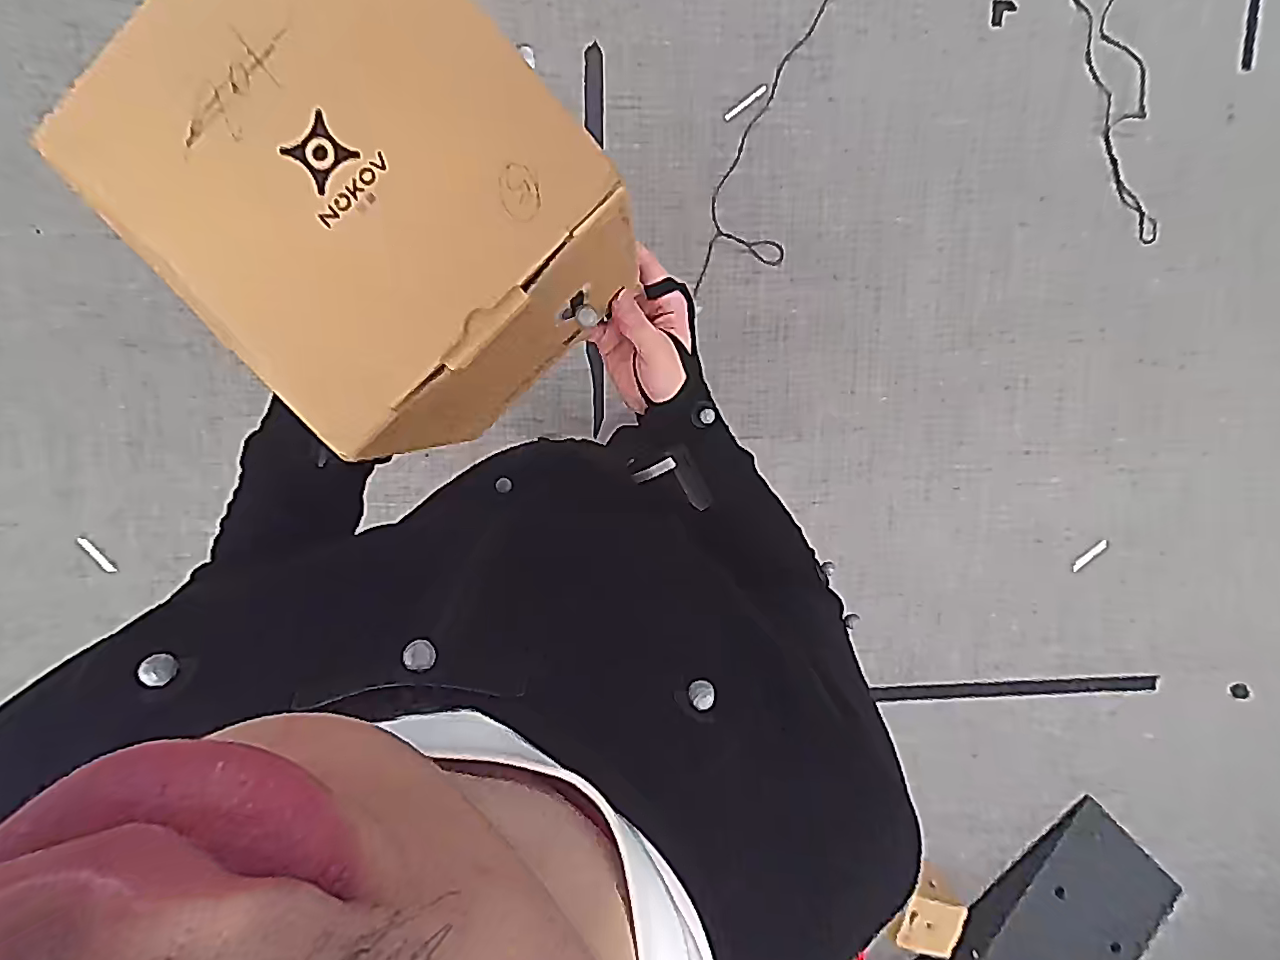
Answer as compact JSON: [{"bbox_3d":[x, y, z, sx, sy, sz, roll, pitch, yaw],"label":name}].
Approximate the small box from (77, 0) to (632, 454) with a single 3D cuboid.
[{"bbox_3d":[-0.117,-0.138,0.304,0.168,0.176,0.179,-43,94,6],"label":"small box"}]
